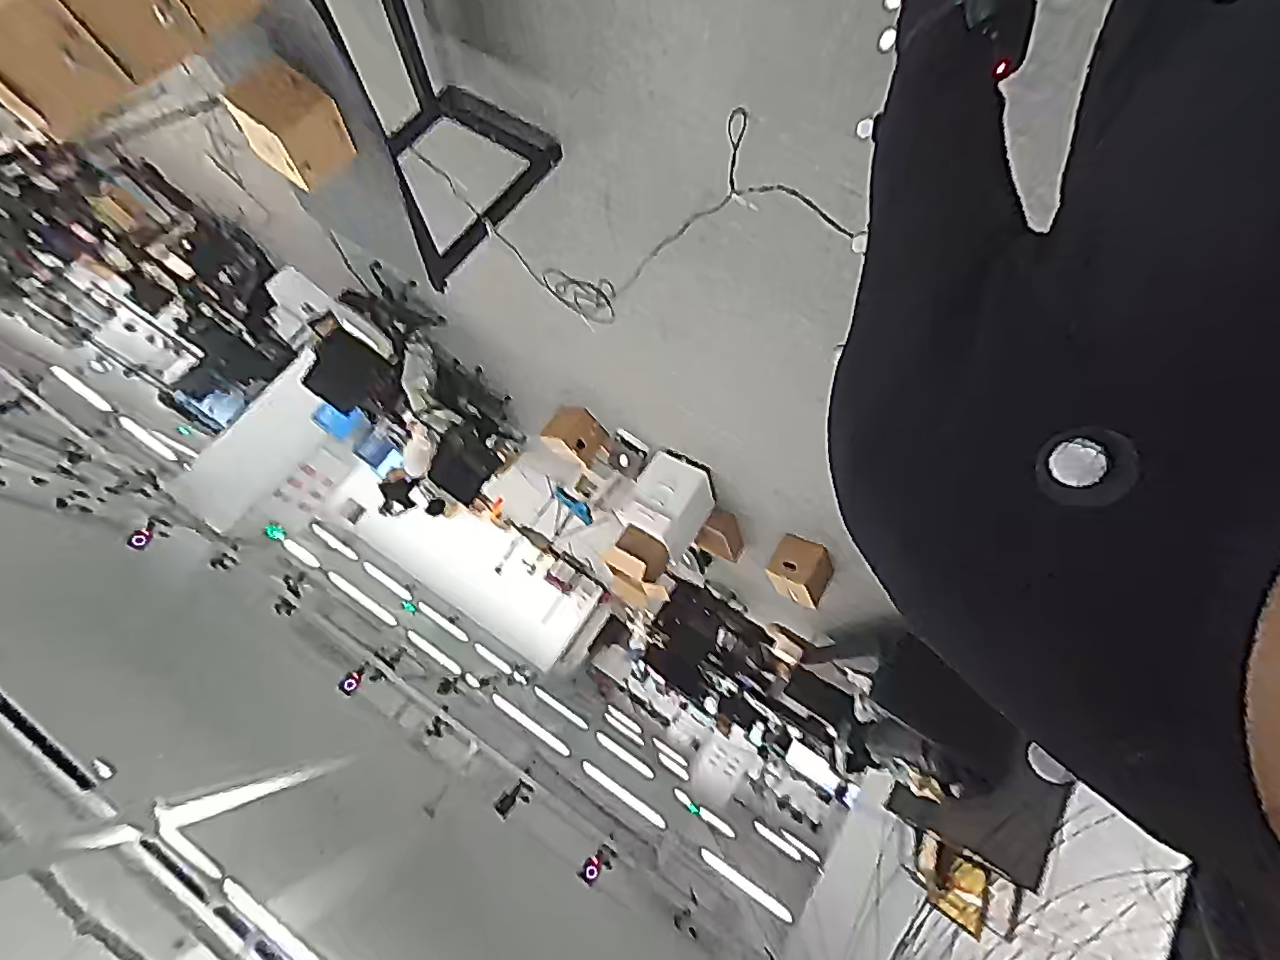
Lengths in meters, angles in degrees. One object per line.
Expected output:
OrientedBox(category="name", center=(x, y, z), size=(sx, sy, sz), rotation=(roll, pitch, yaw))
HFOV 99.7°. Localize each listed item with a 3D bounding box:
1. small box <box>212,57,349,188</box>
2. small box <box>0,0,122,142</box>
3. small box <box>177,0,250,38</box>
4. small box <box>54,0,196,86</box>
OrientedBox(category="small box", center=(-0.843, -0.854, 1.288), size=(0.179, 0.176, 0.168), rotation=(37, 163, 1))
OrientedBox(category="small box", center=(-1.025, -0.709, 0.886), size=(0.179, 0.176, 0.168), rotation=(32, 165, 16))
OrientedBox(category="small box", center=(-0.848, -0.969, 0.979), size=(0.179, 0.176, 0.168), rotation=(35, 164, 9))
OrientedBox(category="small box", center=(-0.938, -0.841, 0.935), size=(0.179, 0.176, 0.168), rotation=(32, 165, 12))
